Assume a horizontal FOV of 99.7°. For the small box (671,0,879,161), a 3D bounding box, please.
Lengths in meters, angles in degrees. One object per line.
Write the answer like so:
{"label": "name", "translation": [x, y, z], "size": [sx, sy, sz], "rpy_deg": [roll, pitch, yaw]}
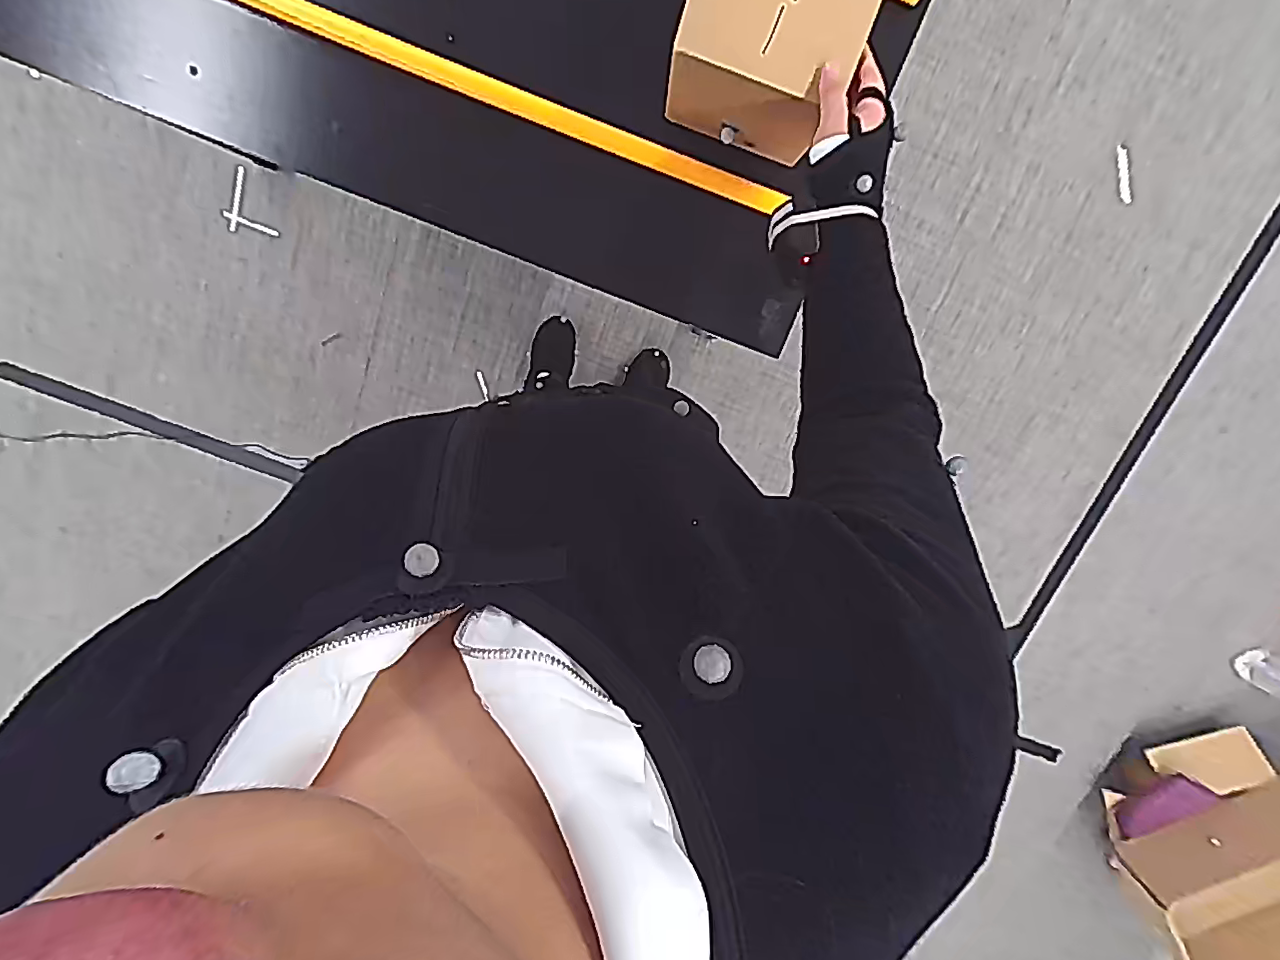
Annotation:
{"label": "small box", "translation": [0.134, -0.468, 0.554], "size": [0.168, 0.176, 0.179], "rpy_deg": [19, 104, -4]}
